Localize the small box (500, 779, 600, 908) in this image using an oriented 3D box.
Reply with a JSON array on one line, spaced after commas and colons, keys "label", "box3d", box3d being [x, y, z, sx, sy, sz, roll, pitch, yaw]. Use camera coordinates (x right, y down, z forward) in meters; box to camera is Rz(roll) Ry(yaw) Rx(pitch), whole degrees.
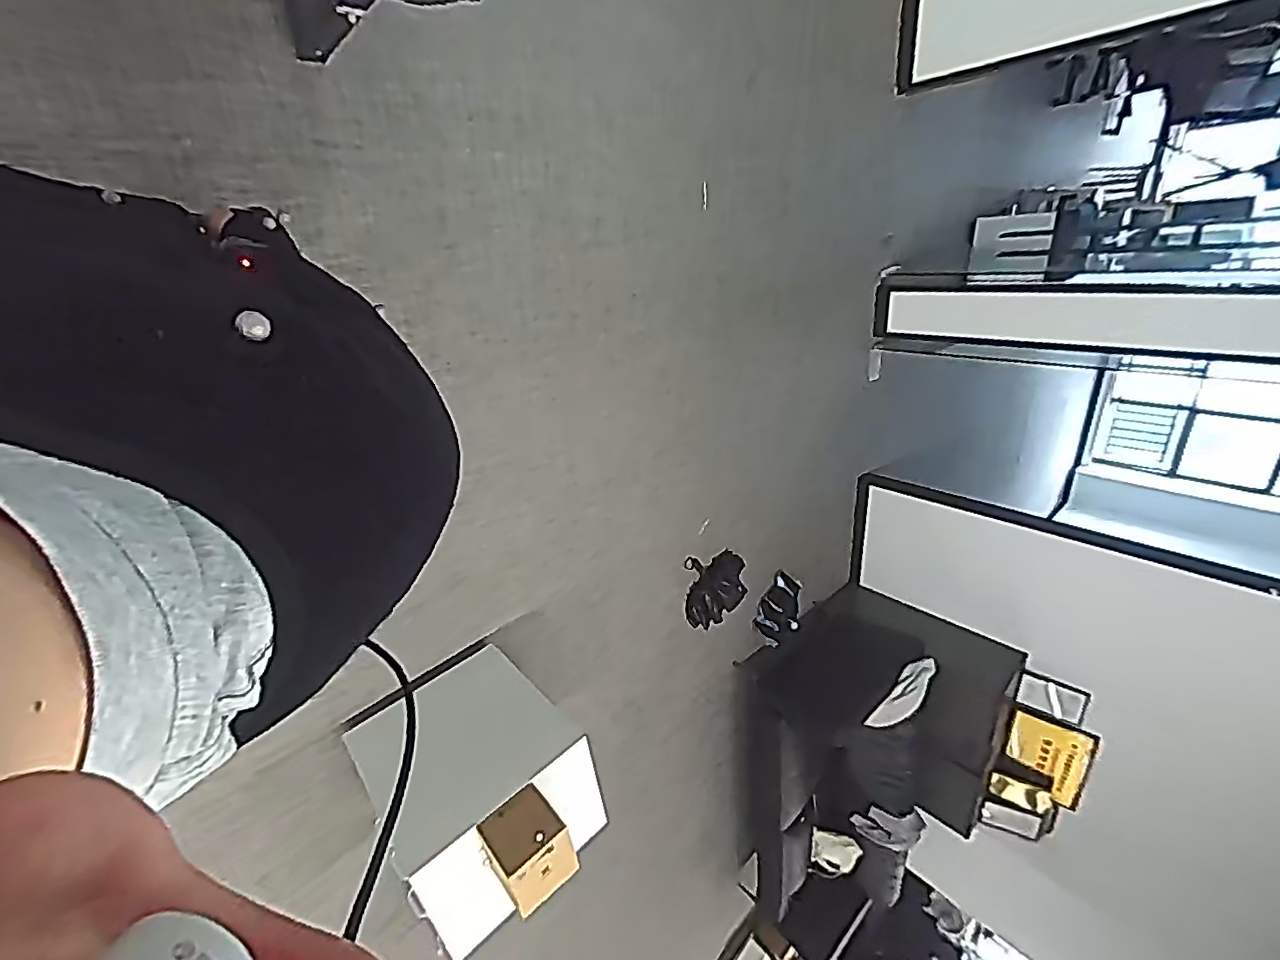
[{"label": "small box", "box3d": [-0.225, 0.897, 1.350, 0.168, 0.176, 0.179, -29, 124, -34]}]
